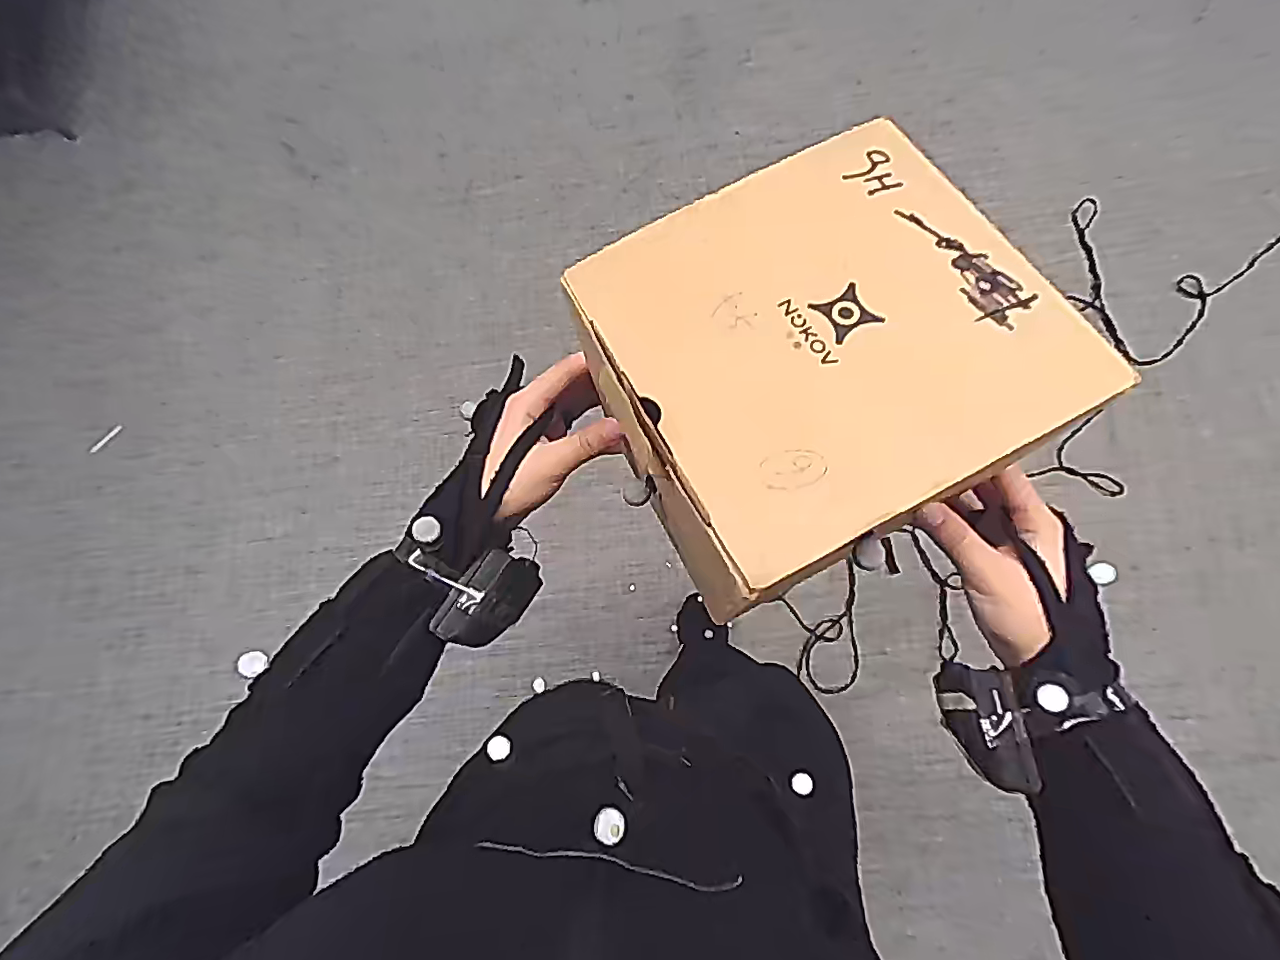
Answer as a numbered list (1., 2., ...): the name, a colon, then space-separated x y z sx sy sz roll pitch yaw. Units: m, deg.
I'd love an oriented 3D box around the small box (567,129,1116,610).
1. small box: 0.085 -0.040 0.308 0.179 0.176 0.168 -28 72 -4
